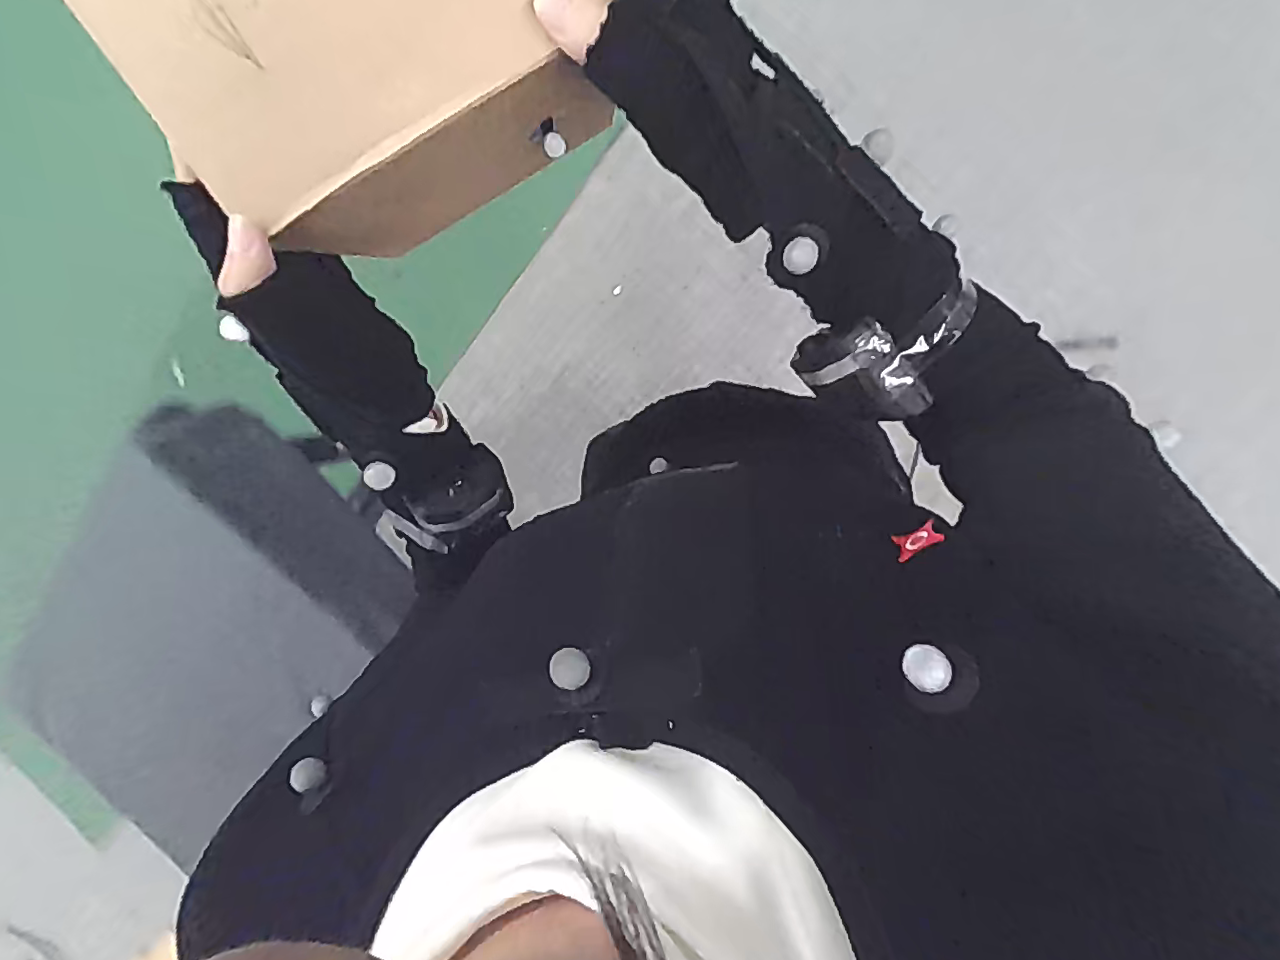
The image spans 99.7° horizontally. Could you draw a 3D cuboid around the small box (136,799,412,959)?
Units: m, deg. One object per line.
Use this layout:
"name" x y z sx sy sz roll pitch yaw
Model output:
"small box" -0.408 0.508 0.618 0.179 0.176 0.168 43 106 2
